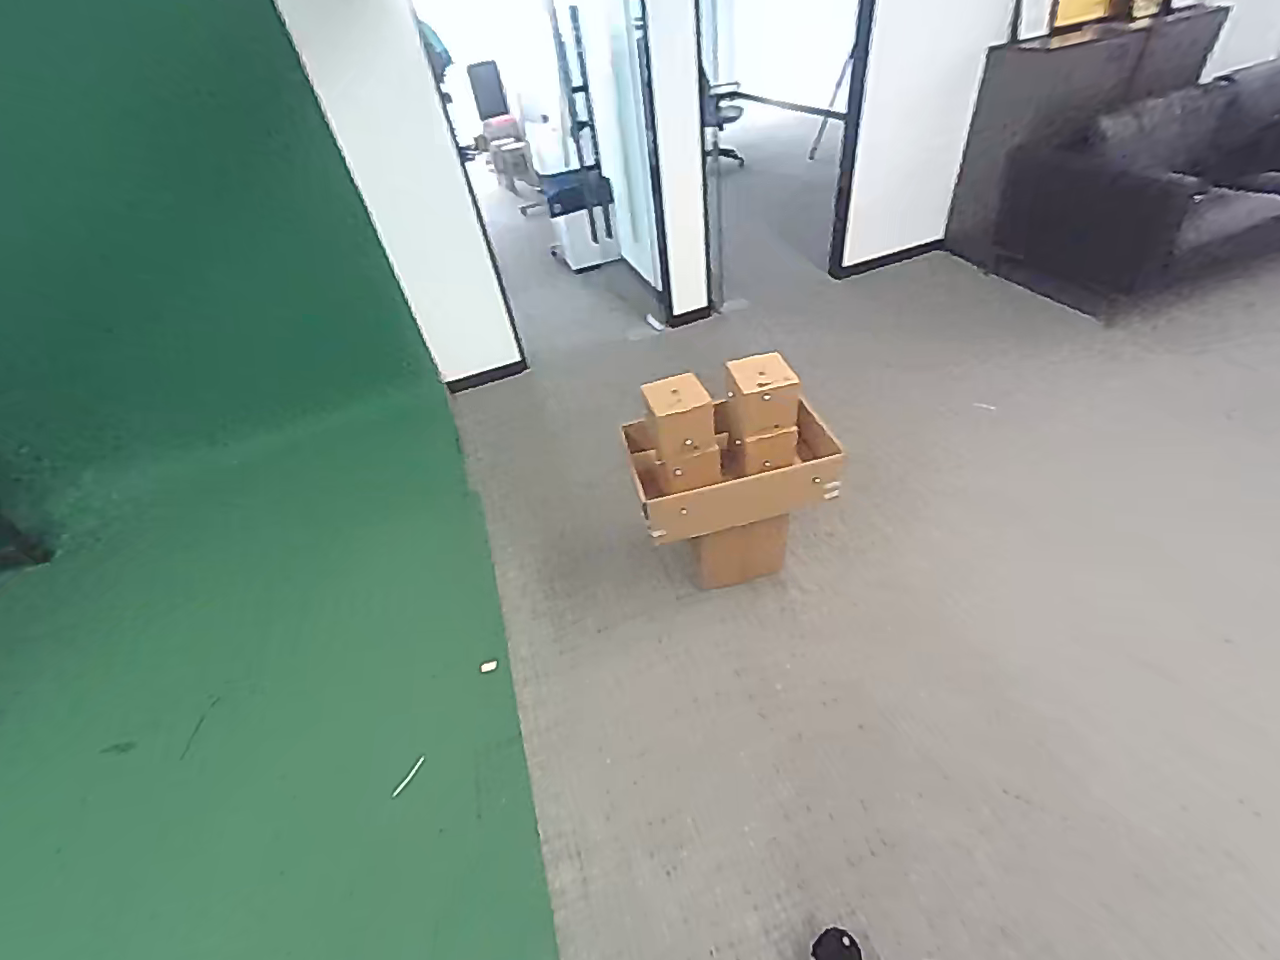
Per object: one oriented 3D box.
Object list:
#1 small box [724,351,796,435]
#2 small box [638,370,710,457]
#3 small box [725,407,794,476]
[{"bbox_3d":[0.353,-0.262,1.626,0.168,0.176,0.179,-12,44,-4],"label":"small box"},{"bbox_3d":[0.100,-0.196,1.595,0.168,0.176,0.179,-16,44,-7],"label":"small box"},{"bbox_3d":[0.374,-0.140,1.734,0.168,0.176,0.179,-14,45,-5],"label":"small box"}]
